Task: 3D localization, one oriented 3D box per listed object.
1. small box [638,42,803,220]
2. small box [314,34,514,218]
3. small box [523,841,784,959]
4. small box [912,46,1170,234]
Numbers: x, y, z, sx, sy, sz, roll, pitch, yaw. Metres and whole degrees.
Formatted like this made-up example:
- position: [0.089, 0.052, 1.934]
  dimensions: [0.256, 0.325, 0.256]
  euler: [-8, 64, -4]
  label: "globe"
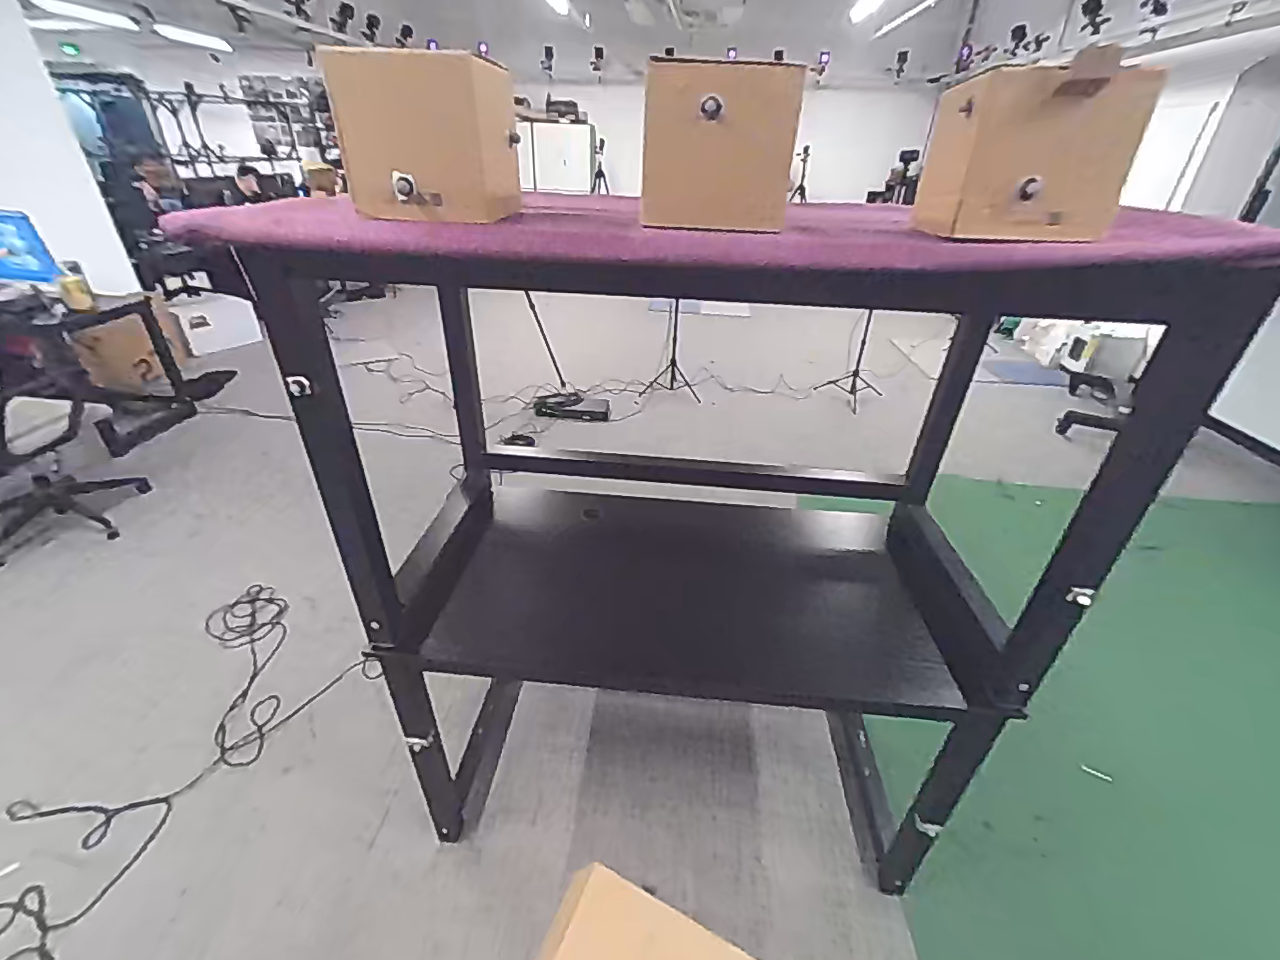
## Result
- position: [0.092, -0.426, 0.680]
  dimensions: [0.179, 0.176, 0.168]
  euler: [5, 30, 4]
  label: "small box"
- position: [-0.258, -0.431, 0.671]
  dimensions: [0.168, 0.176, 0.179]
  euler: [1, 33, 1]
  label: "small box"
- position: [-0.007, 0.381, 0.363]
  dimensions: [0.179, 0.176, 0.168]
  euler: [26, 53, 8]
  label: "small box"
- position: [0.450, -0.398, 0.650]
  dimensions: [0.168, 0.176, 0.179]
  euler: [4, 30, 7]
  label: "small box"
